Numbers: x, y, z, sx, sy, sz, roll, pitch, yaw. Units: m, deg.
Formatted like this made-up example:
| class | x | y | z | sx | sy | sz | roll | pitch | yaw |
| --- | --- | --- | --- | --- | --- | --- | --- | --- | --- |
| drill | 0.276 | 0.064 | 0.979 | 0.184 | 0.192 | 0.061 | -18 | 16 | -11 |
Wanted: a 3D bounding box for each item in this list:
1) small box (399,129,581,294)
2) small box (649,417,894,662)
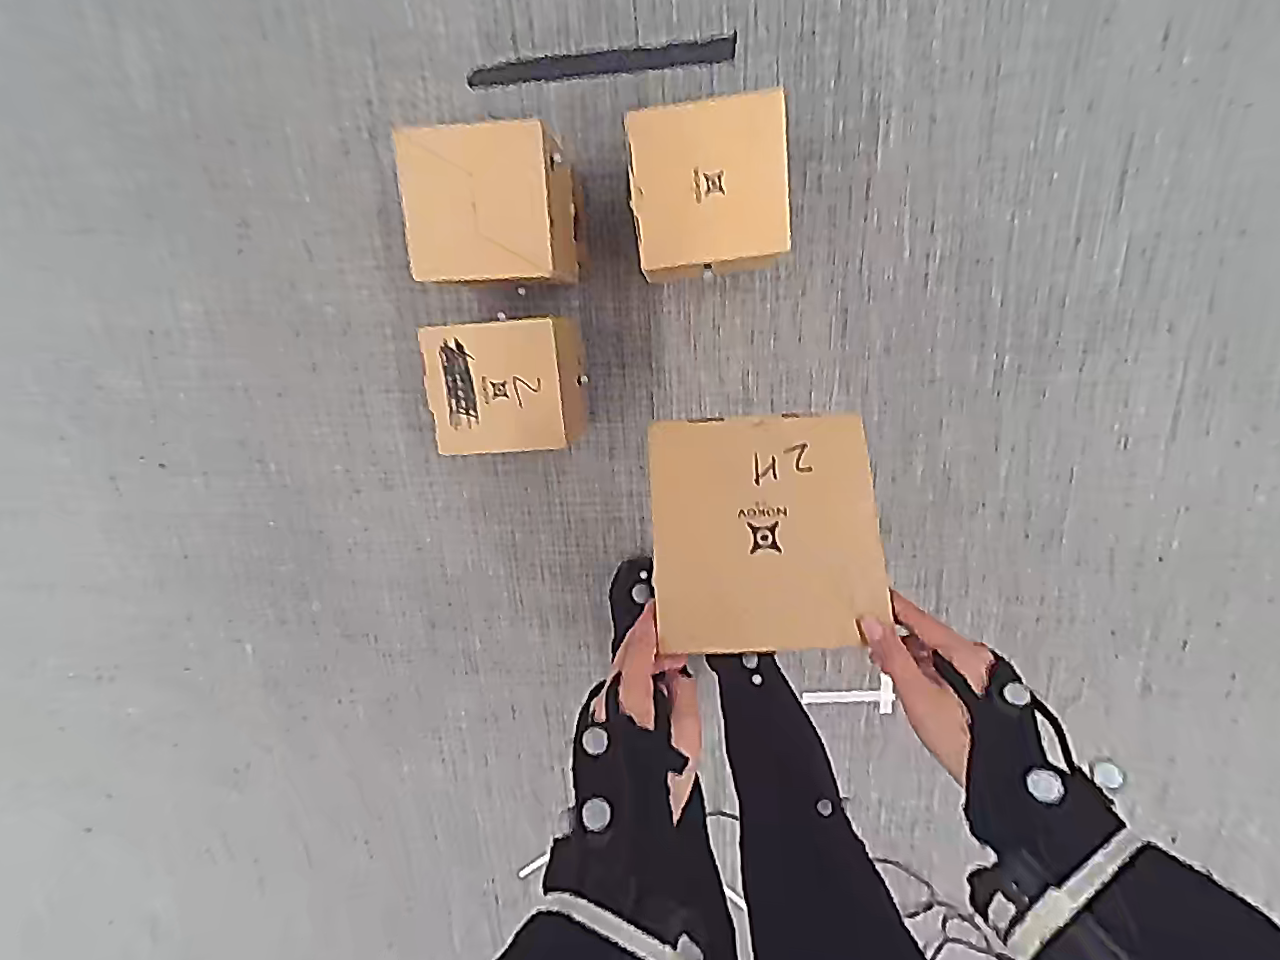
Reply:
| class | x | y | z | sx | sy | sz | roll | pitch | yaw |
| --- | --- | --- | --- | --- | --- | --- | --- | --- | --- |
| small box | -0.183 | -0.339 | 0.711 | 0.179 | 0.176 | 0.168 | -1 | 105 | 4 |
| small box | 0.093 | 0.059 | 0.468 | 0.168 | 0.176 | 0.179 | -2 | 74 | 1 |
